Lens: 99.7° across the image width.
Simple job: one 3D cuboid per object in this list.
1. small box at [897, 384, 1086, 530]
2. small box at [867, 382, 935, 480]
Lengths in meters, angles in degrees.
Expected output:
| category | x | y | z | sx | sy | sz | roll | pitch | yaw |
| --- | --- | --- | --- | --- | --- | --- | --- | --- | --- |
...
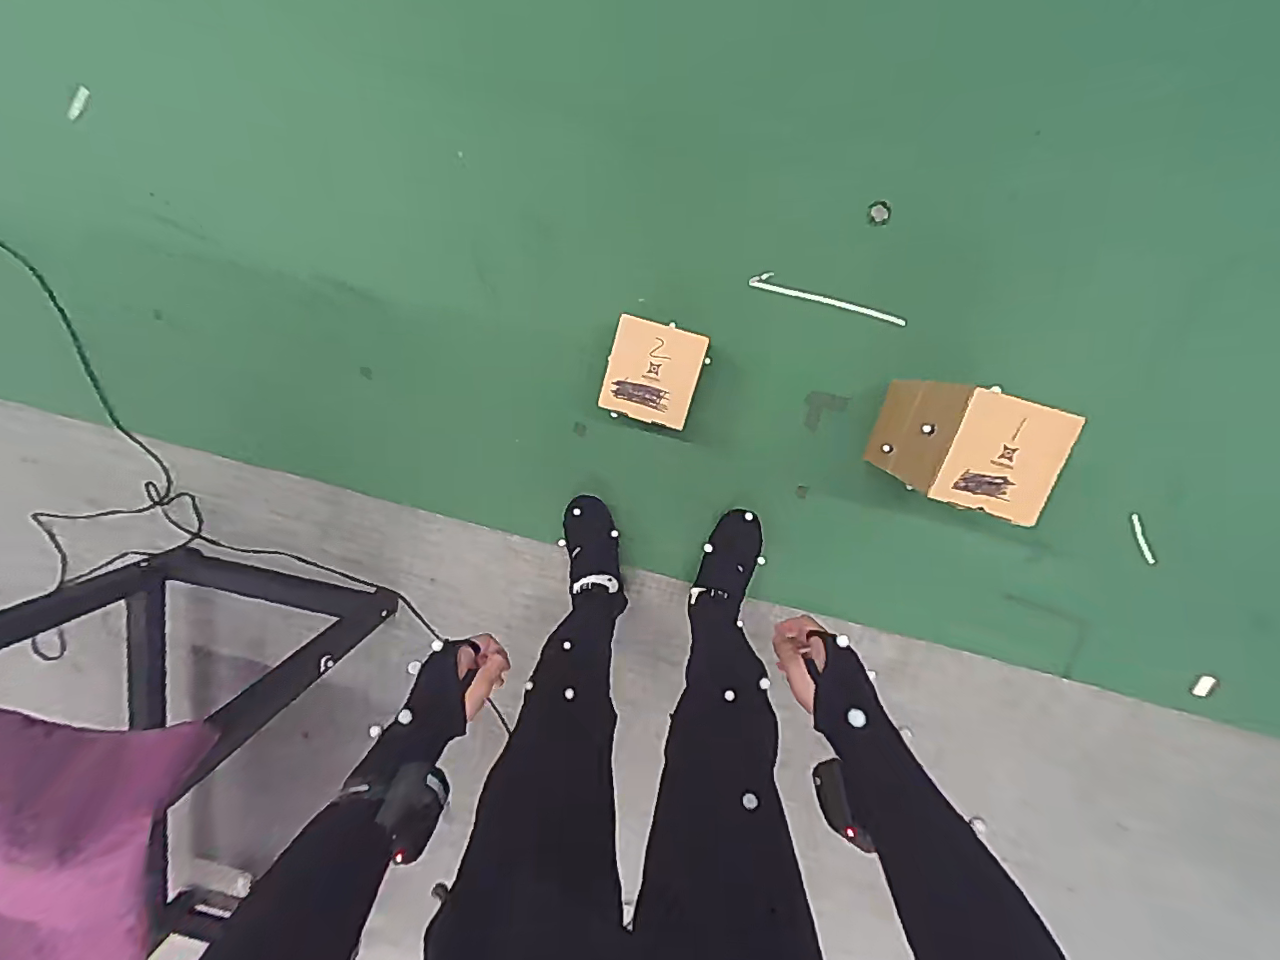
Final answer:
| category | x | y | z | sx | sy | sz | roll | pitch | yaw |
| --- | --- | --- | --- | --- | --- | --- | --- | --- | --- |
| small box | 0.543 | -0.046 | 0.869 | 0.168 | 0.176 | 0.179 | 17 | 103 | 1 |
| small box | 0.559 | -0.082 | 1.029 | 0.168 | 0.176 | 0.179 | 16 | 104 | 2 |
